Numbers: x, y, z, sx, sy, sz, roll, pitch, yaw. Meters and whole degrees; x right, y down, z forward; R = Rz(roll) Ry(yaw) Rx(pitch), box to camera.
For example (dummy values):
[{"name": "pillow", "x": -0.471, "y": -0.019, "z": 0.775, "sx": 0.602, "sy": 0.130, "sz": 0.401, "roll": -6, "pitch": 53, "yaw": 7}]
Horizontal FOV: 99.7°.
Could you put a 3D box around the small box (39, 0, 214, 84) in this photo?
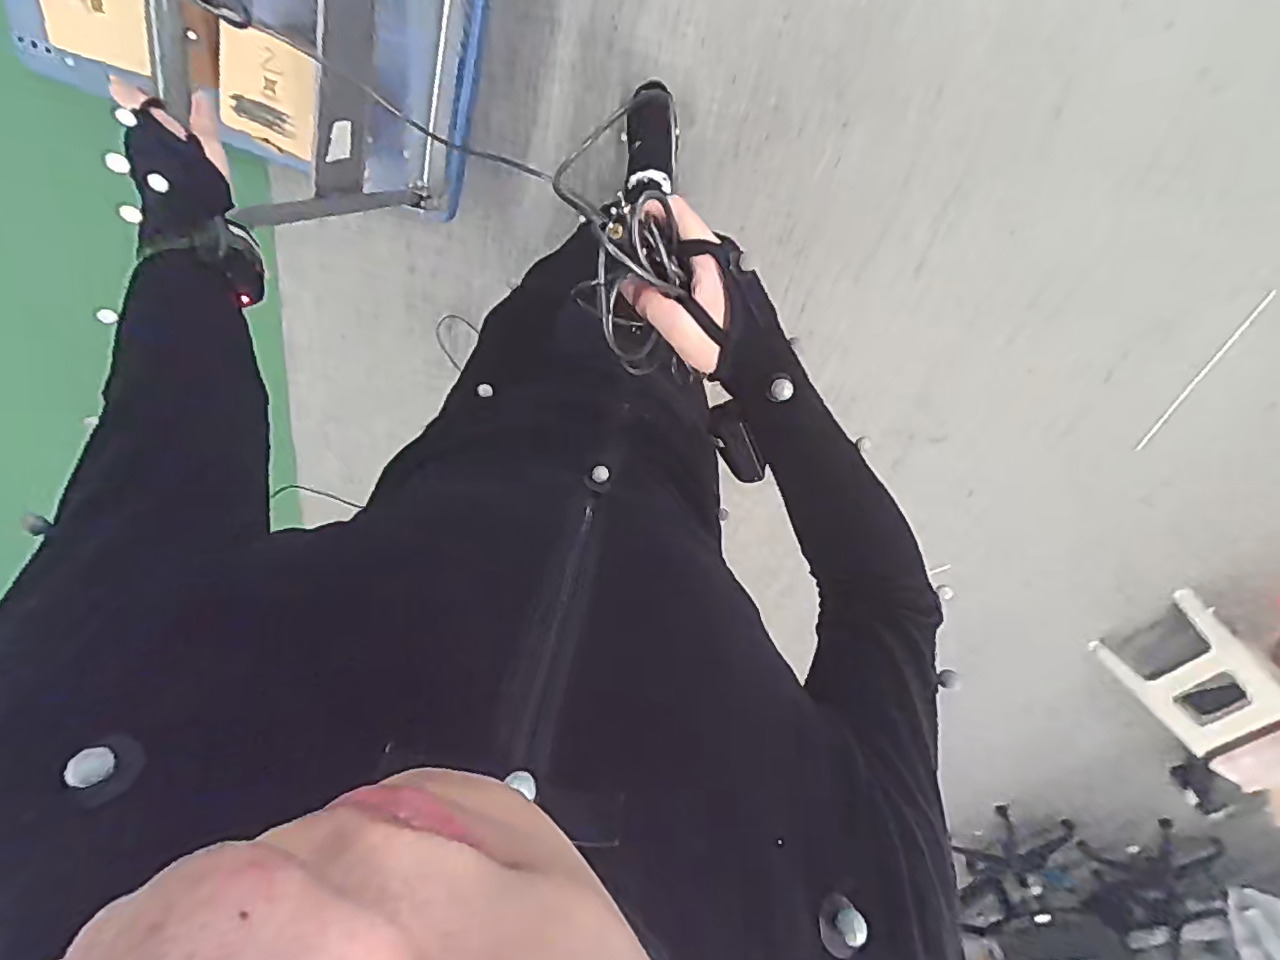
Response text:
[{"name": "small box", "x": -0.901, "y": -0.829, "z": 0.960, "sx": 0.179, "sy": 0.176, "sz": 0.168, "roll": 15, "pitch": 122, "yaw": -7}]
